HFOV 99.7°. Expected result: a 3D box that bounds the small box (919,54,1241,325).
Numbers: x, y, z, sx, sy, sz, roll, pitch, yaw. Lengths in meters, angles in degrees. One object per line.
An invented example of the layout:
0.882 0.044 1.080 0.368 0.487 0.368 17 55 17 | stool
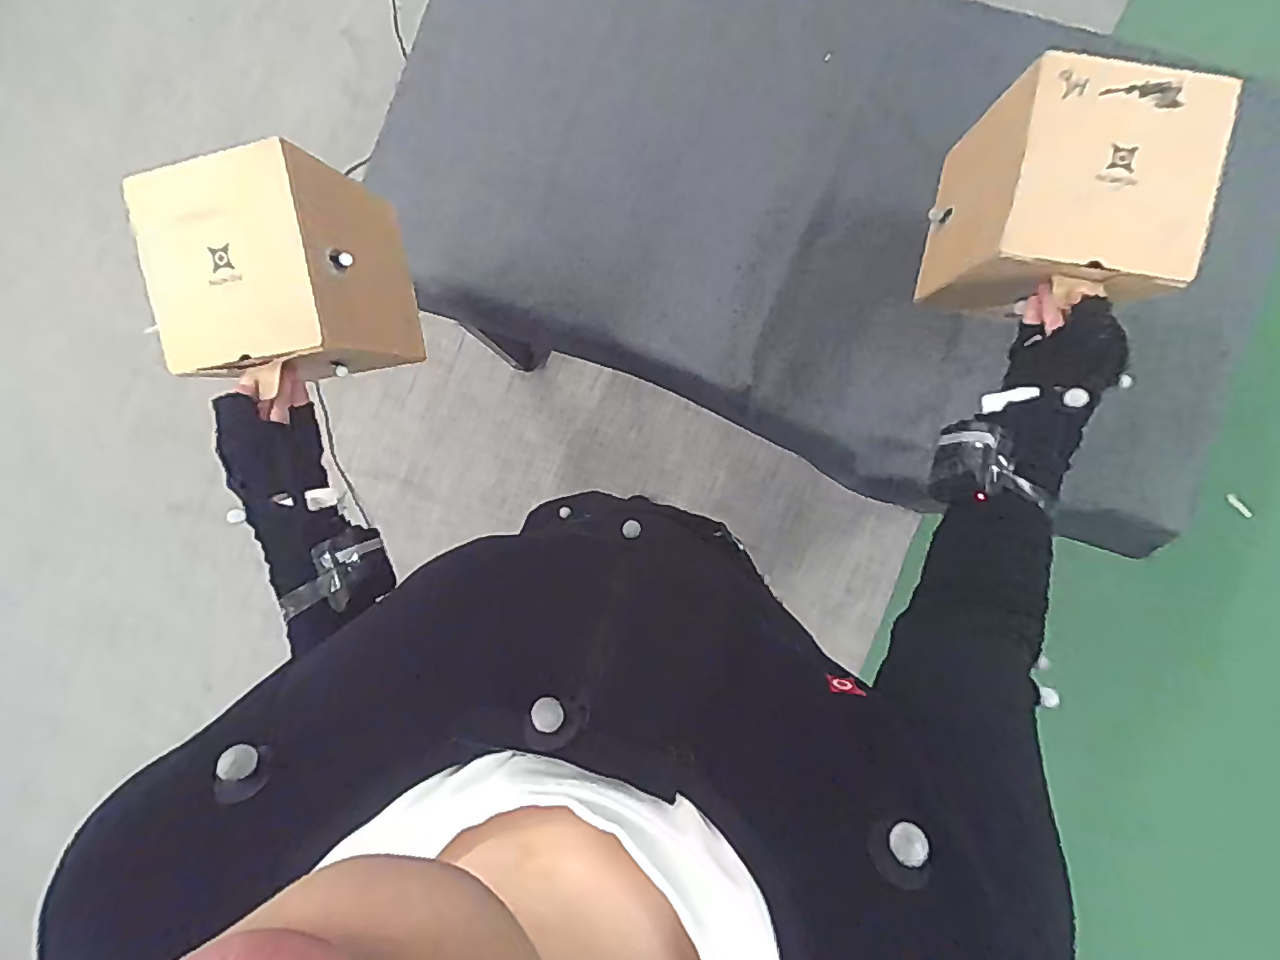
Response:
0.408 -0.266 0.540 0.168 0.176 0.179 11 95 1 | small box

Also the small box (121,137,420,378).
-0.348 -0.201 0.546 0.168 0.176 0.179 -7 97 10 | small box
